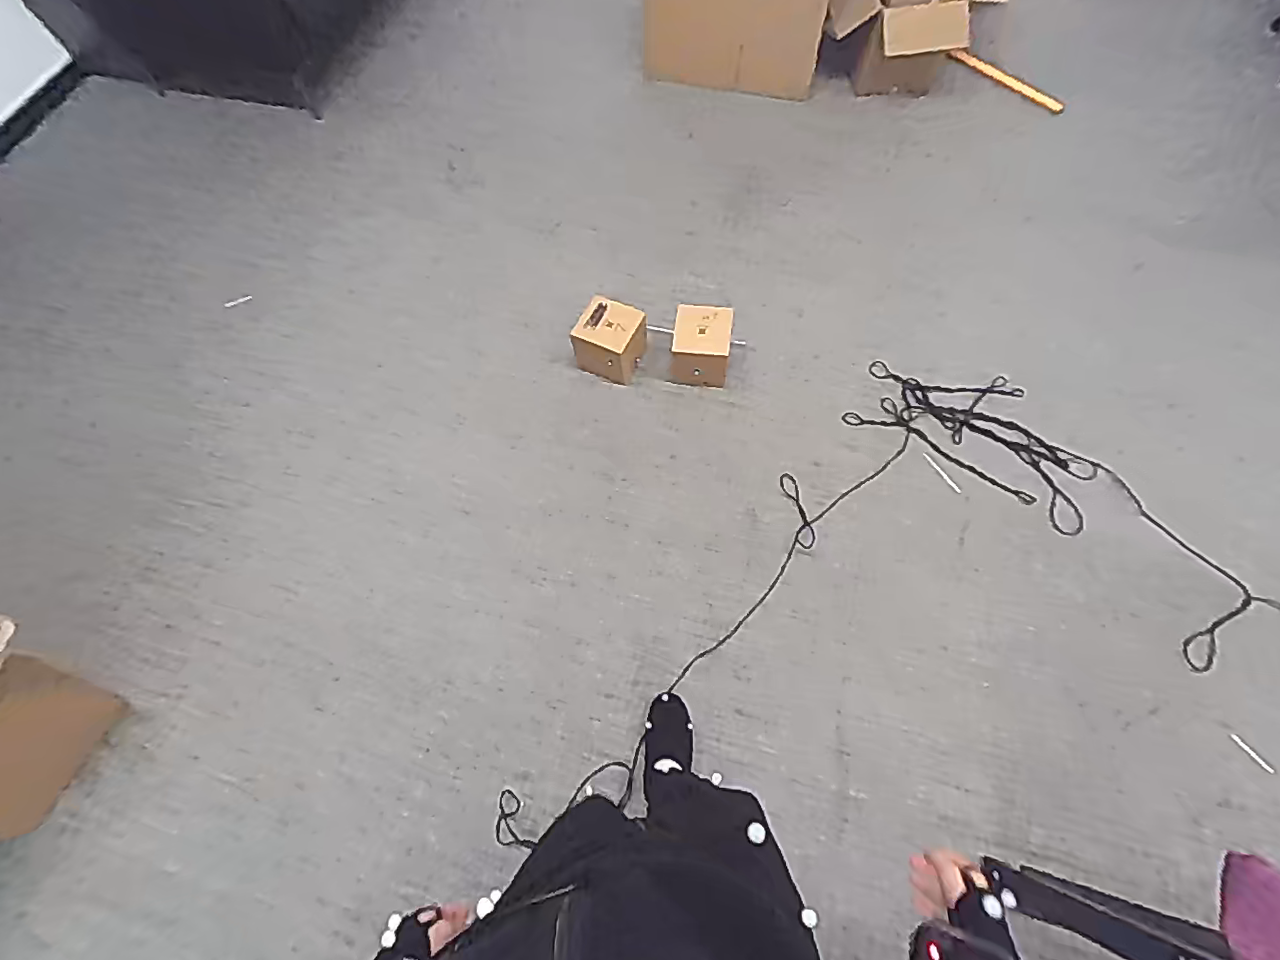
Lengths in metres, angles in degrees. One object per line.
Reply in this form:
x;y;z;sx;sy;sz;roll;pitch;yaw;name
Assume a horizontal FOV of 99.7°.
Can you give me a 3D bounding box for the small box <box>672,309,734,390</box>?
0.193;-0.393;1.645;0.168;0.176;0.179;7;66;7;small box
